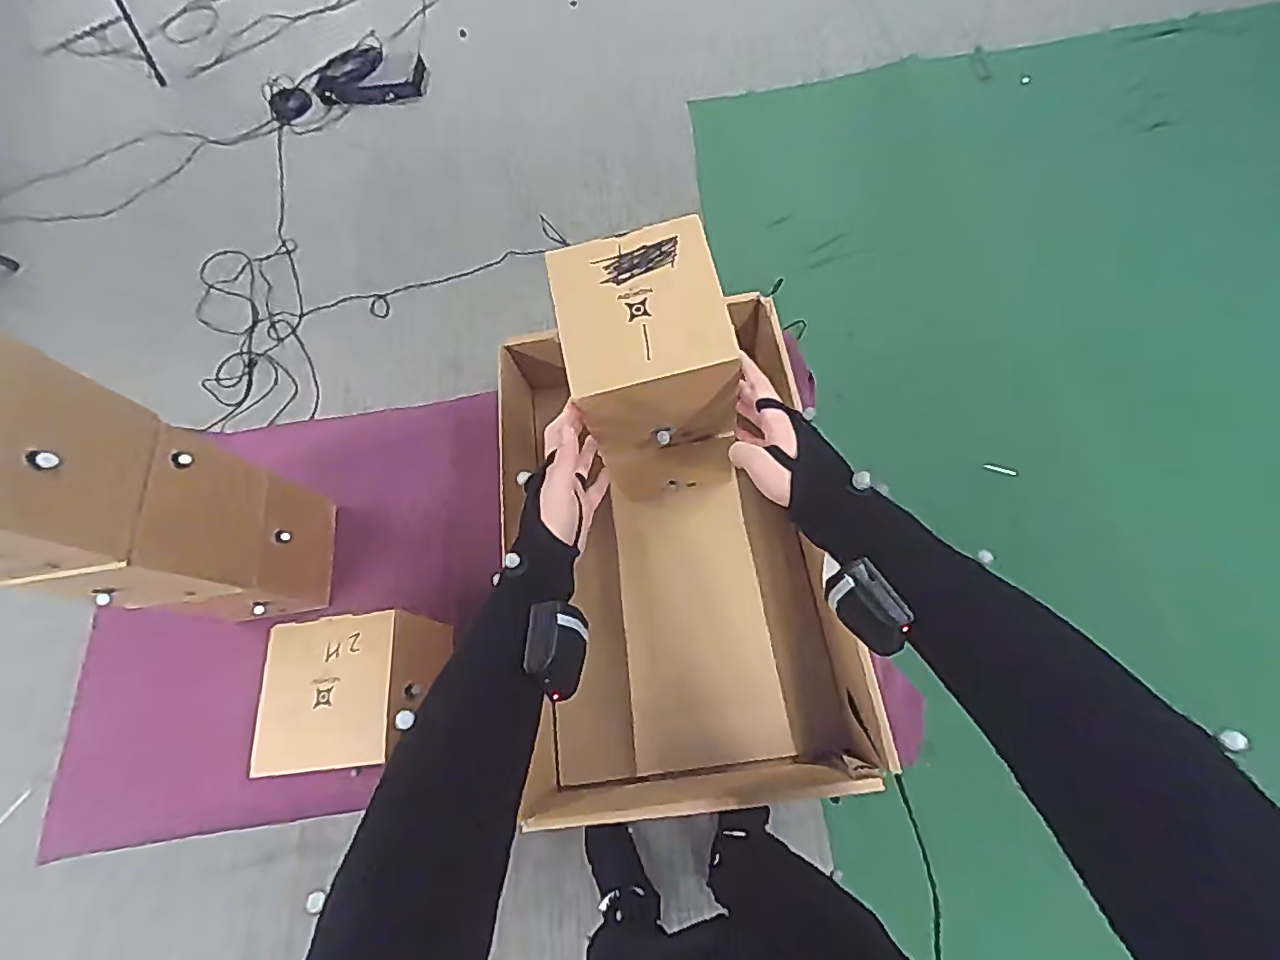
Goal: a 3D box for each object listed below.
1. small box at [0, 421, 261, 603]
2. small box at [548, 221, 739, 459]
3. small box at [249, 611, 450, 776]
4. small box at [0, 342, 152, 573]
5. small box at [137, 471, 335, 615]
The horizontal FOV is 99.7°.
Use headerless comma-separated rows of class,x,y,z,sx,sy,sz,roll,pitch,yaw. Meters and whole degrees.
small box,-0.611,0.051,0.669,0.168,0.176,0.179,-9,68,3
small box,0.006,-0.145,0.606,0.168,0.176,0.179,-13,71,3
small box,-0.368,0.281,0.721,0.168,0.176,0.179,-7,67,4
small box,-0.628,-0.013,0.518,0.168,0.176,0.179,-9,69,2
small box,-0.593,0.105,0.820,0.168,0.176,0.179,-8,68,3
